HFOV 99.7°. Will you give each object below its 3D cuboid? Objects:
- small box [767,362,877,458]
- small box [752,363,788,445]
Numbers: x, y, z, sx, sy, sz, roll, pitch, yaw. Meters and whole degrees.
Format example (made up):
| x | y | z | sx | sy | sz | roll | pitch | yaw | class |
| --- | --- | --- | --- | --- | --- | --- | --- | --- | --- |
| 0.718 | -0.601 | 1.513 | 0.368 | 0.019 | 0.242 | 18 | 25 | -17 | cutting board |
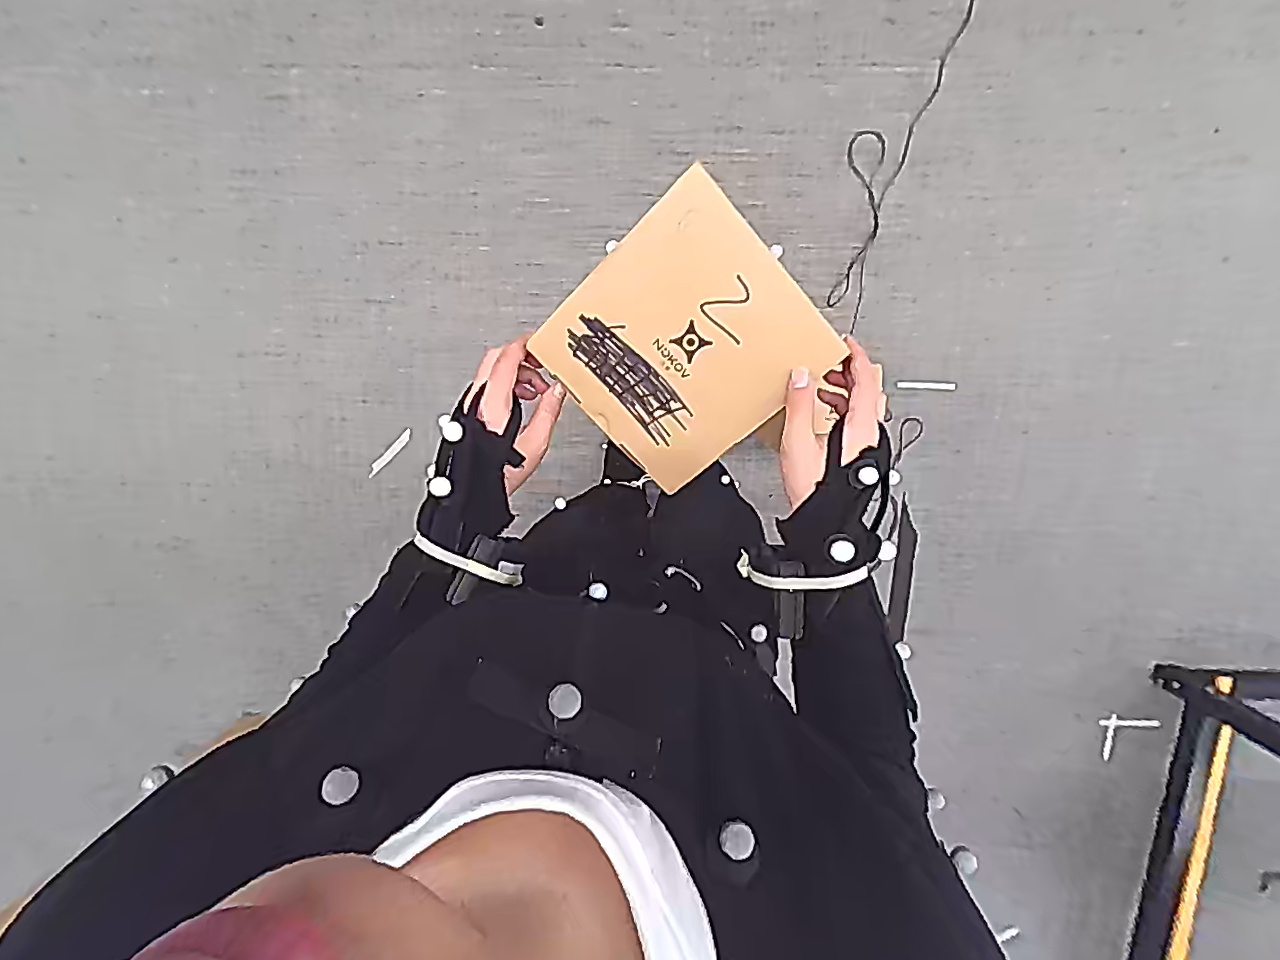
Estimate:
| x | y | z | sx | sy | sz | roll | pitch | yaw | class |
| --- | --- | --- | --- | --- | --- | --- | --- | --- | --- |
| 0.350 | -0.141 | 1.069 | 0.168 | 0.176 | 0.179 | 0 | 102 | 2 | small box |
| 0.353 | -0.173 | 1.231 | 0.168 | 0.176 | 0.179 | 1 | 102 | 2 | small box |
